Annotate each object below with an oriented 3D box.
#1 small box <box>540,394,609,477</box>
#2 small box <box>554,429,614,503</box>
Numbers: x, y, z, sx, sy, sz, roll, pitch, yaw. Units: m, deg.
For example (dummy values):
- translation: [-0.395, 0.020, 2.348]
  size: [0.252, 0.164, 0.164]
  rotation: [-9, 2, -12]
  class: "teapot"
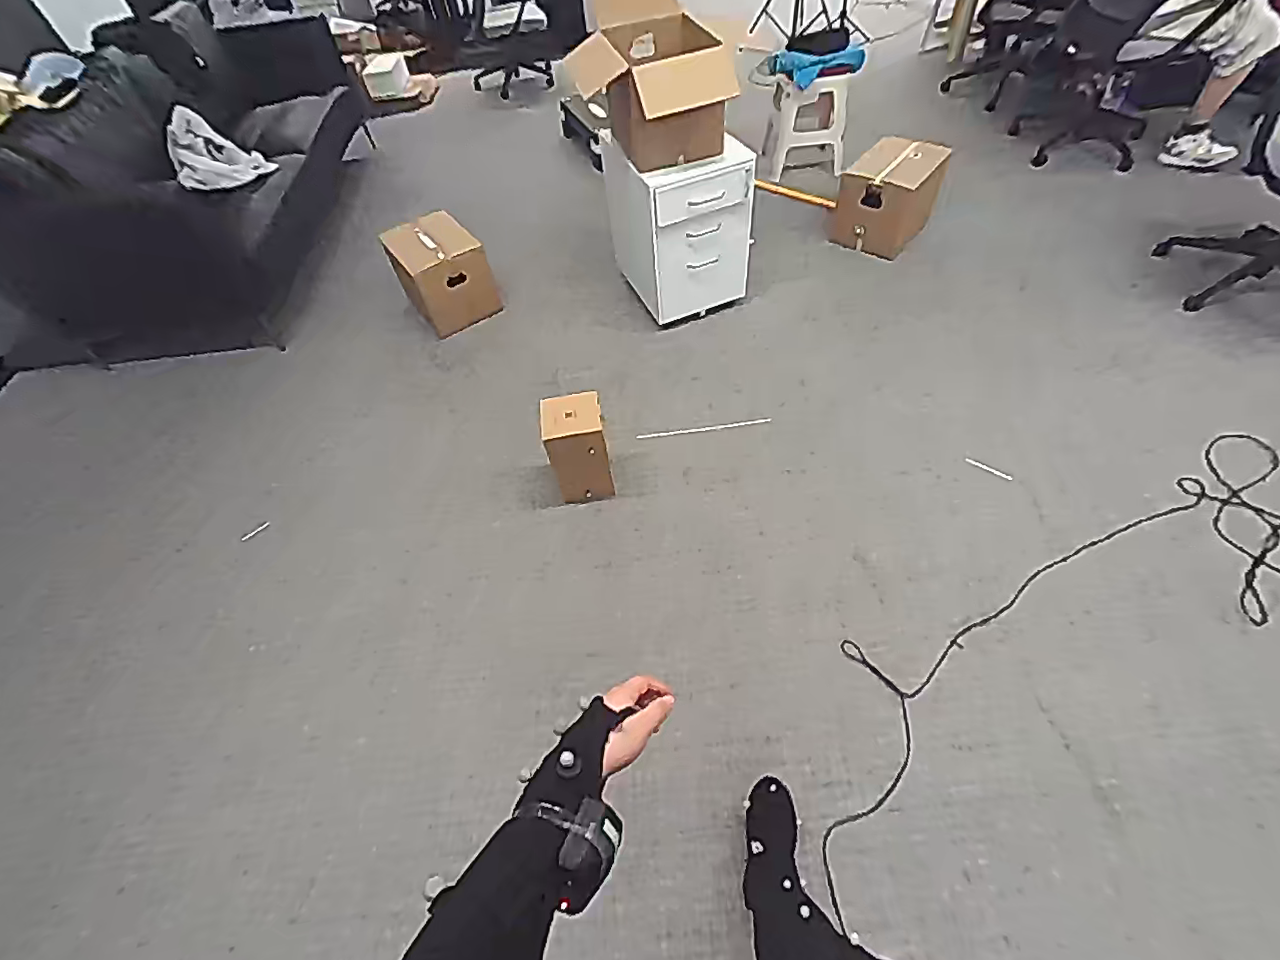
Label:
- translation: [-0.194, -0.132, 1.634]
  size: [0.179, 0.176, 0.168]
  rotation: [-12, 52, 0]
  class: "small box"
- translation: [-0.180, -0.044, 1.771]
  size: [0.179, 0.176, 0.168]
  rotation: [-8, 53, 0]
  class: "small box"
